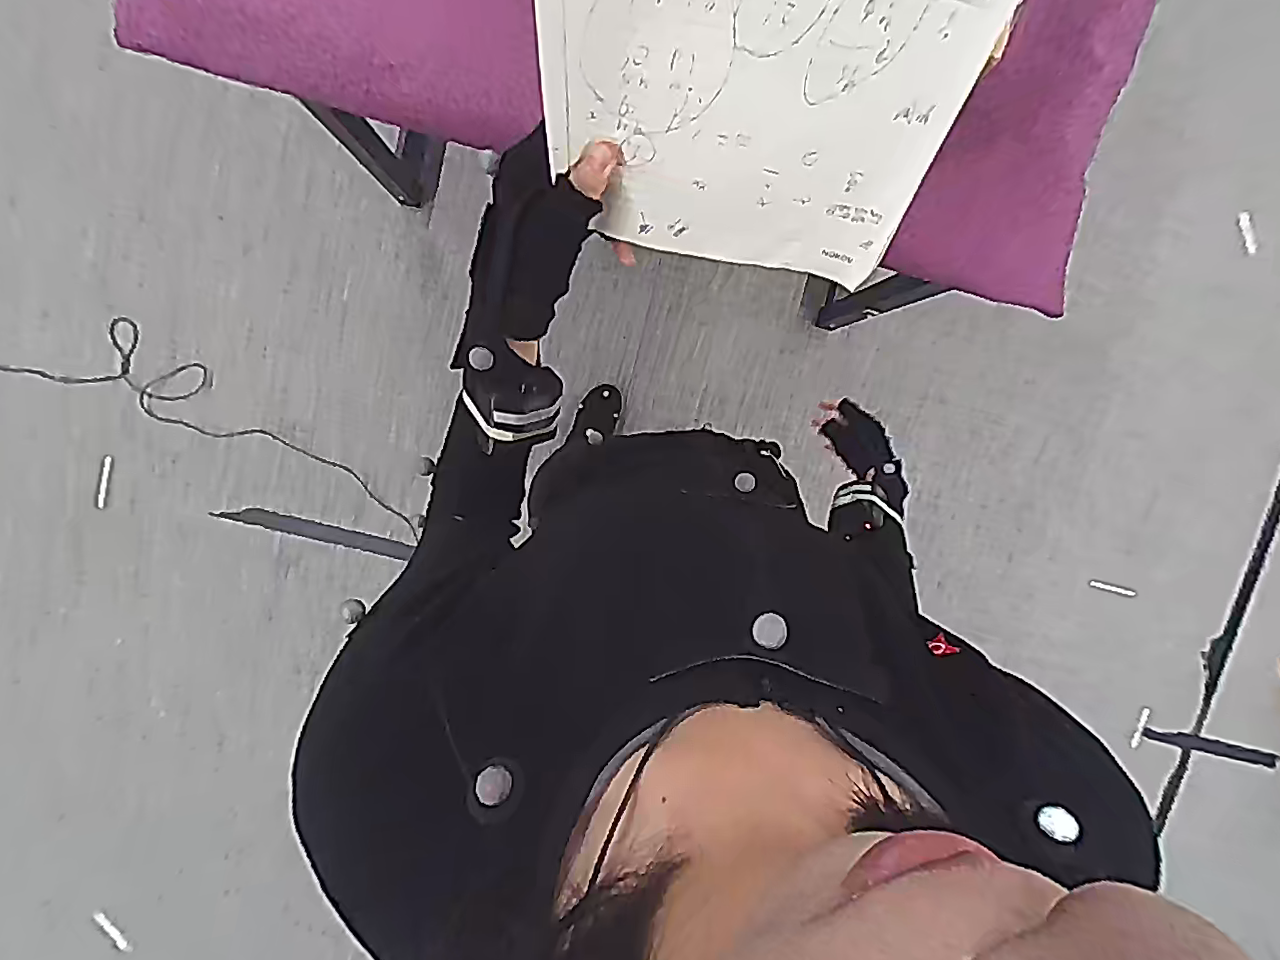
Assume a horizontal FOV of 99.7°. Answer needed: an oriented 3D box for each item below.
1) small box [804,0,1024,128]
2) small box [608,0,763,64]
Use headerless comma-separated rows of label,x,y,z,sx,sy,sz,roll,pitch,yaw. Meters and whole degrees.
small box,0.324,-0.559,0.638,0.179,0.176,0.168,17,94,-4
small box,0.067,-0.621,0.611,0.179,0.176,0.168,13,95,-6
